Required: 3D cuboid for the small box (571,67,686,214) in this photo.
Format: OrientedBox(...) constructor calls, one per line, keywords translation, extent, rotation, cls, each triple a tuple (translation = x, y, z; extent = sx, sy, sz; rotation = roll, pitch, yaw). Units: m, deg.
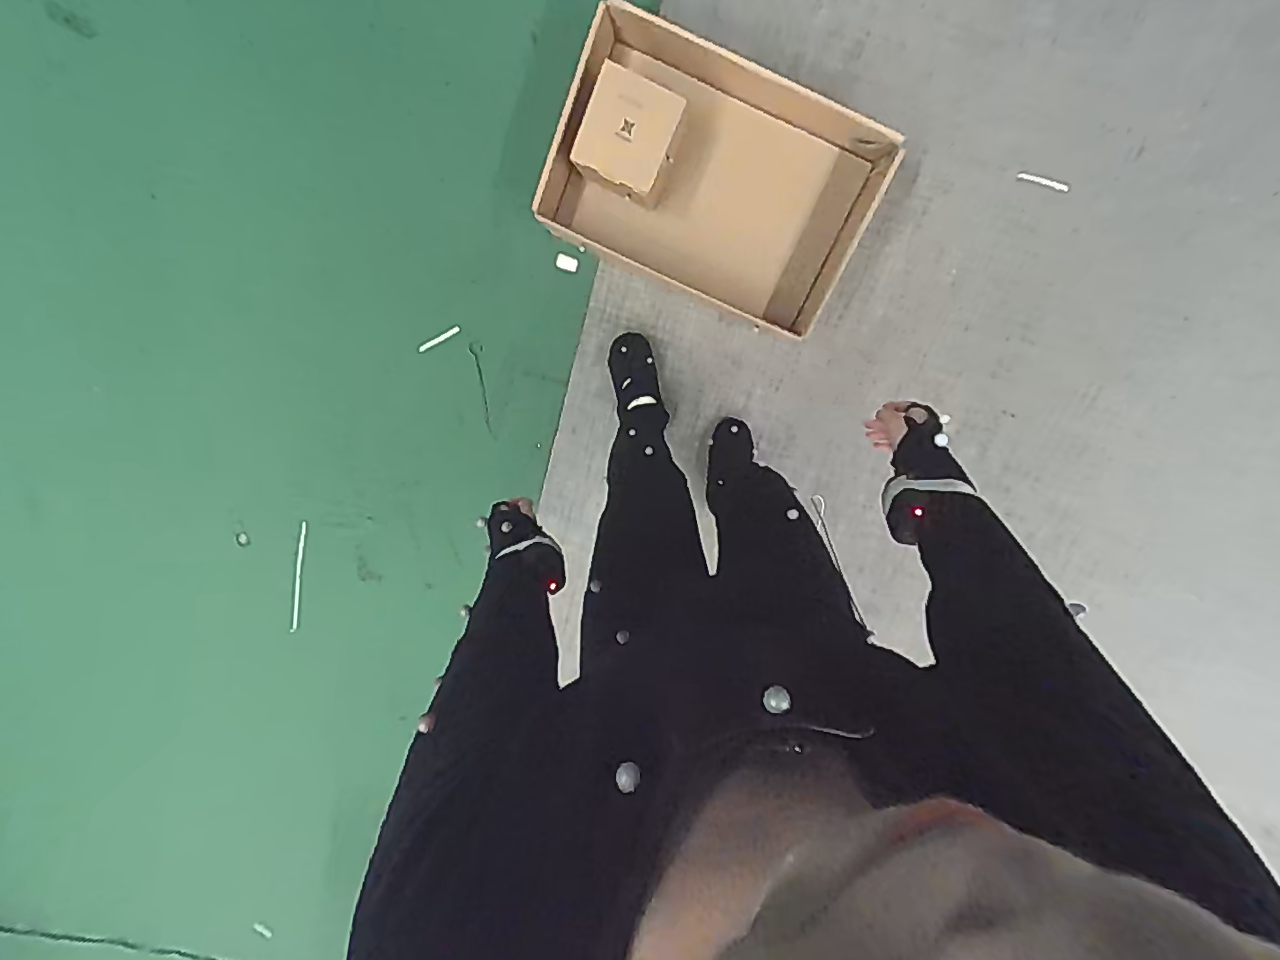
OrientedBox(translation=(-0.017, -0.658, 1.075), extent=(0.168, 0.176, 0.179), rotation=(25, 107, -4), cls="small box")
